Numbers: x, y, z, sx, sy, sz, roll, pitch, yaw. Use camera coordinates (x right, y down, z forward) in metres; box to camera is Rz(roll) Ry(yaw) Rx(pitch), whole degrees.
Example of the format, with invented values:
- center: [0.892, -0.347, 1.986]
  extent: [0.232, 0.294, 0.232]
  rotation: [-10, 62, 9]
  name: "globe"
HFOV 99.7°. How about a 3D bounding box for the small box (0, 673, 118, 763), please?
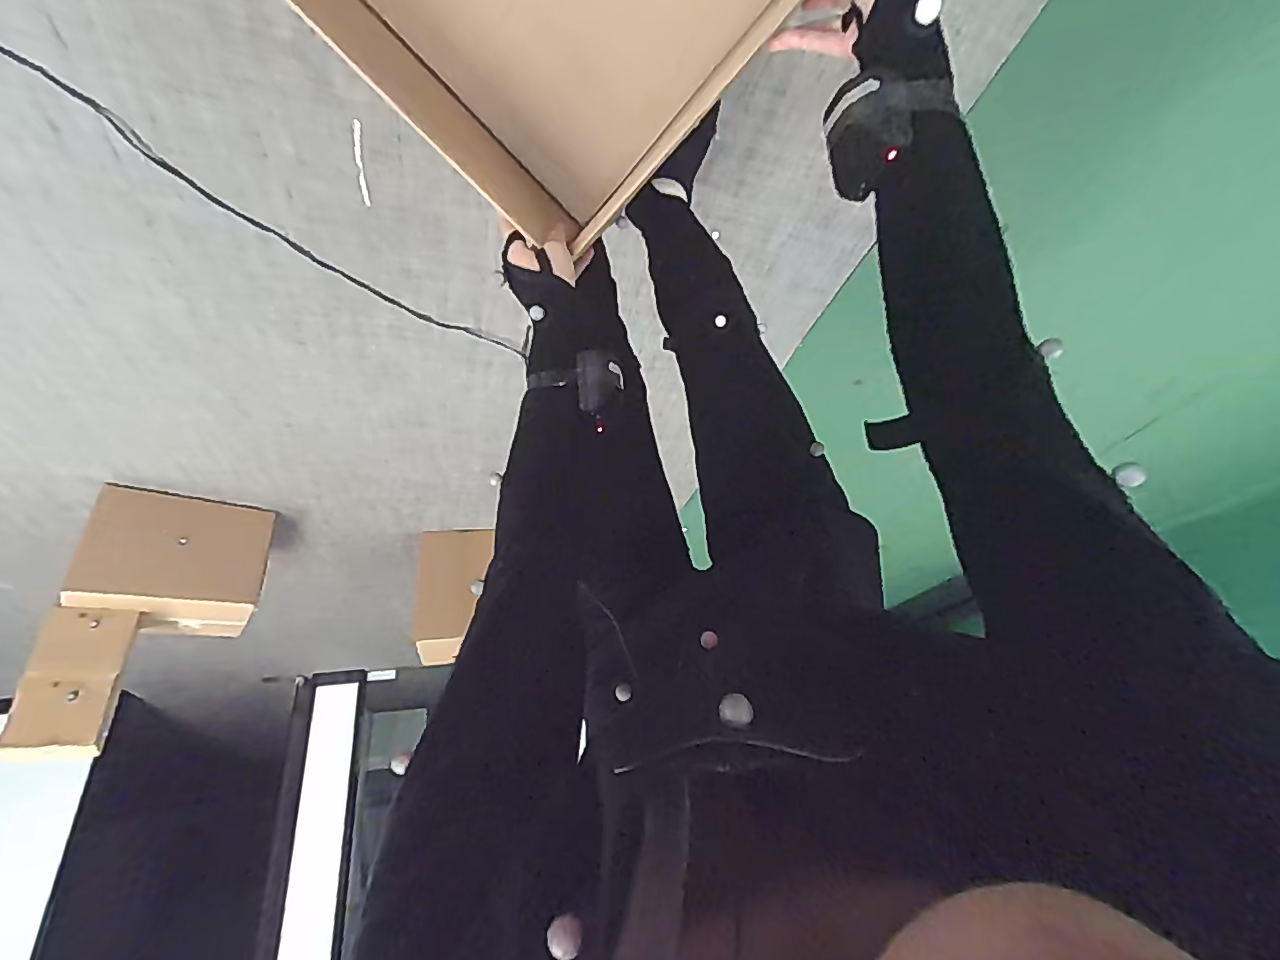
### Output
- center: [-1.414, 0.581, 1.320]
  extent: [0.168, 0.176, 0.179]
  rotation: [14, 141, -34]
  name: "small box"
